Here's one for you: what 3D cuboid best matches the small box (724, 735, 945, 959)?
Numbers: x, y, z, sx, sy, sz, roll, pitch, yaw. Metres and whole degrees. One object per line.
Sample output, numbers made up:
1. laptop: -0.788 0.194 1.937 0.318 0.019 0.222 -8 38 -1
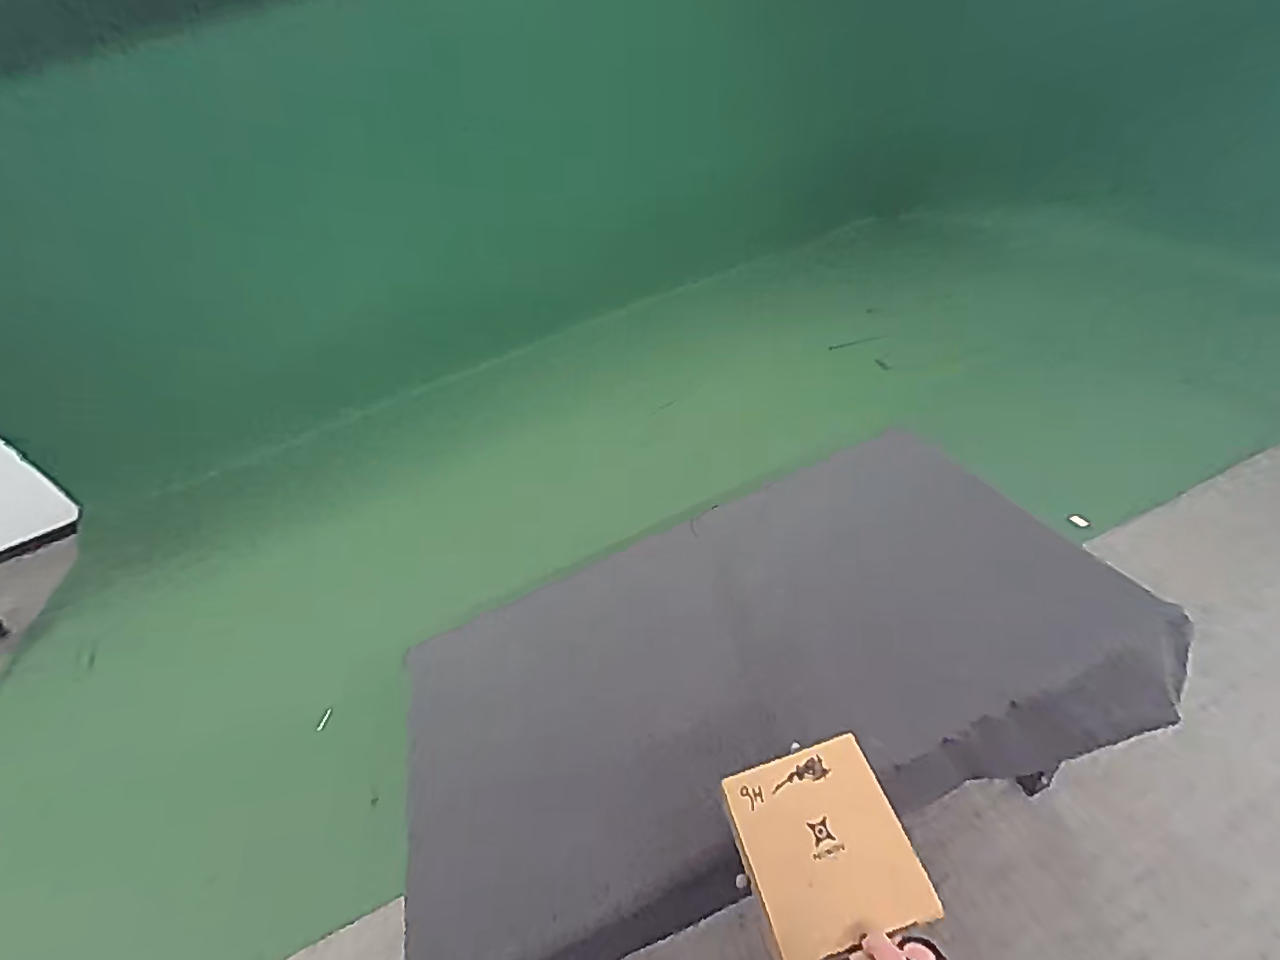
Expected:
1. small box: 0.211 0.434 0.634 0.168 0.176 0.179 -19 50 -5
